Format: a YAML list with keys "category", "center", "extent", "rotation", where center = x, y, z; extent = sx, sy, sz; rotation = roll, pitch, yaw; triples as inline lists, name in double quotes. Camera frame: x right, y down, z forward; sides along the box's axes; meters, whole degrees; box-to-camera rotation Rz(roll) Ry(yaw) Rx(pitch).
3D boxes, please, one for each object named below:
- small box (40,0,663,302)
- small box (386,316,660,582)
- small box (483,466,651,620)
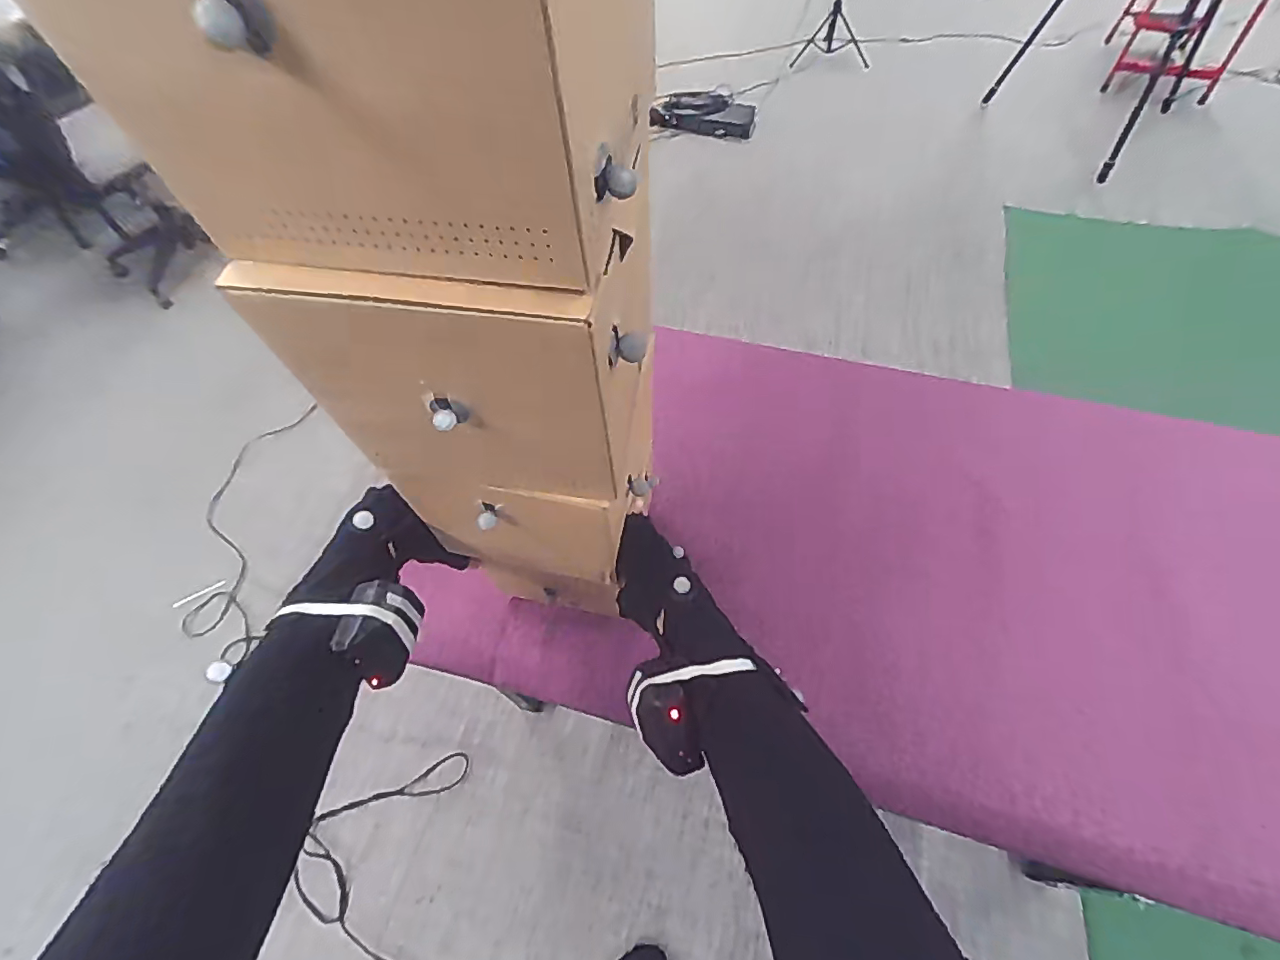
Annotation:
- category: "small box"
  center: [-0.087, -0.194, 0.215]
  extent: [0.179, 0.176, 0.168]
  rotation: [8, 61, 8]
- category: "small box"
  center: [-0.085, -0.018, 0.494]
  extent: [0.179, 0.176, 0.168]
  rotation: [11, 61, 7]
- category: "small box"
  center: [-0.084, 0.047, 0.644]
  extent: [0.168, 0.176, 0.179]
  rotation: [11, 61, 6]
